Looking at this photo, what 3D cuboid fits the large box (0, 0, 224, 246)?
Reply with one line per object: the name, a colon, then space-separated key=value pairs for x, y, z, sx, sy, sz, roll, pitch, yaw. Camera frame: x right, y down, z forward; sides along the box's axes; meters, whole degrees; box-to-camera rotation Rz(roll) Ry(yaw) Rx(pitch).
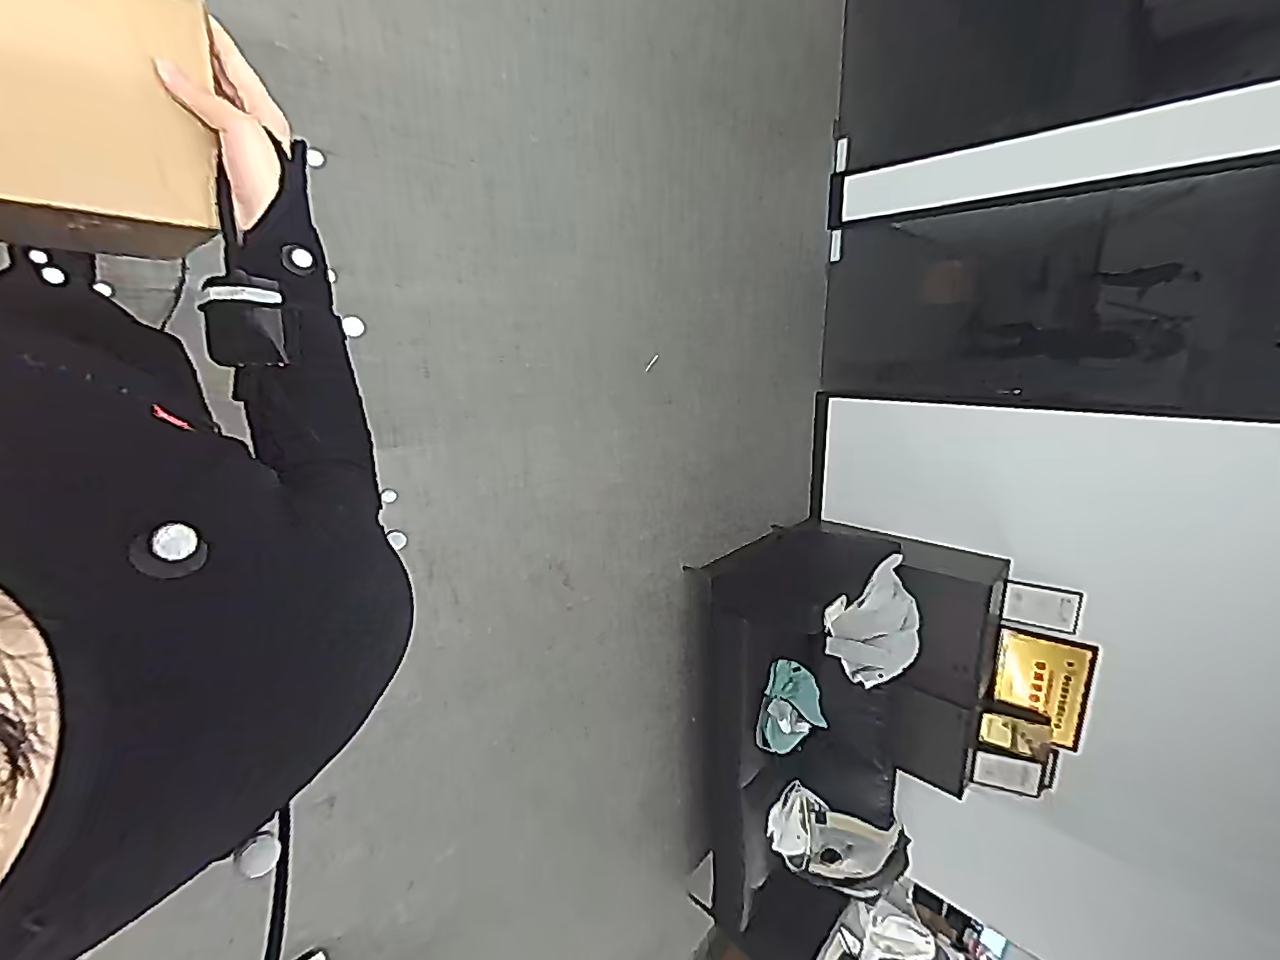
large box: x=-0.559 y=-0.348 z=0.335 sx=0.408 sy=0.320 sz=0.320 roll=-12 pitch=111 yaw=-45
